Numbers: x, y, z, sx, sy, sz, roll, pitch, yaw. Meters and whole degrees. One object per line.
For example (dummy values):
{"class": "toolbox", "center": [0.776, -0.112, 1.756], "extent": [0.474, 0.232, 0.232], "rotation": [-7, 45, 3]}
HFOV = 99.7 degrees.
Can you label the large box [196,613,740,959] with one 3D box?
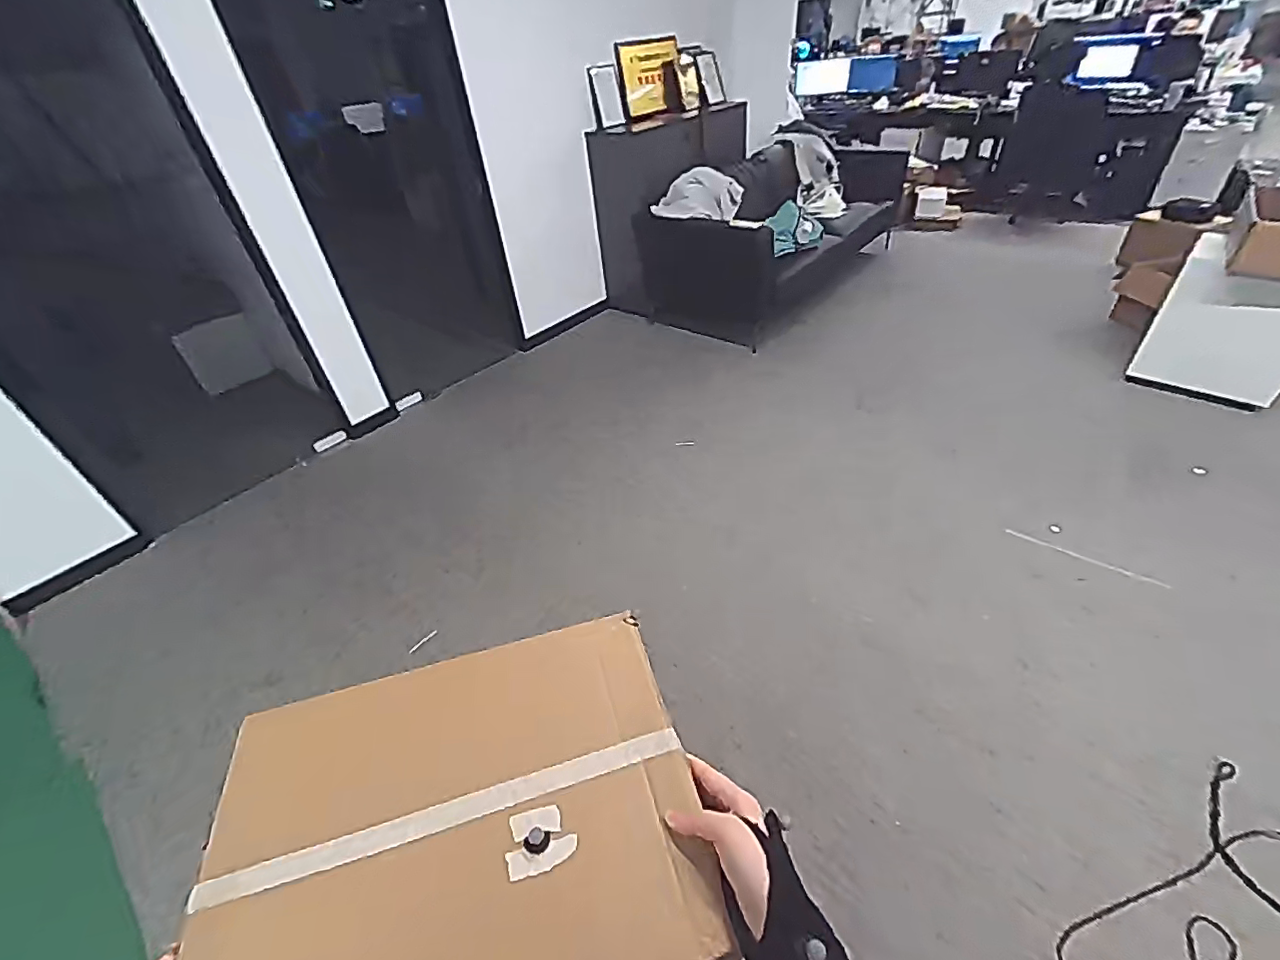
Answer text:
{"class": "large box", "center": [-0.151, 0.402, 0.573], "extent": [0.408, 0.320, 0.320], "rotation": [-11, 40, -12]}
